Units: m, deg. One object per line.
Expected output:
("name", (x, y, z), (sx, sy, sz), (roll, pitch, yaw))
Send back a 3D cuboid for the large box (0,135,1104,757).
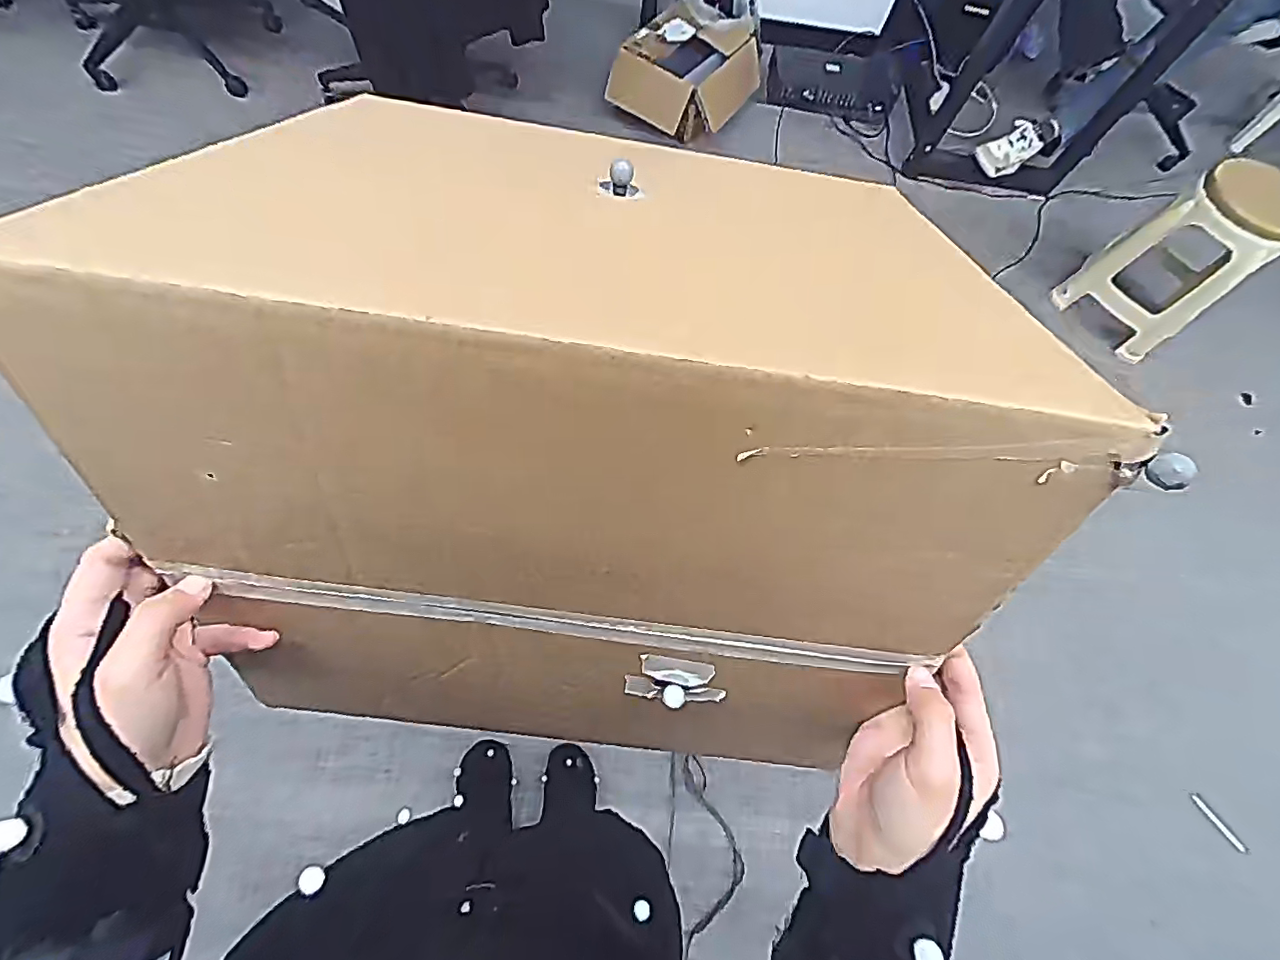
("large box", (-0.036, -0.029, 0.400), (0.408, 0.320, 0.320), (7, 43, -3))
